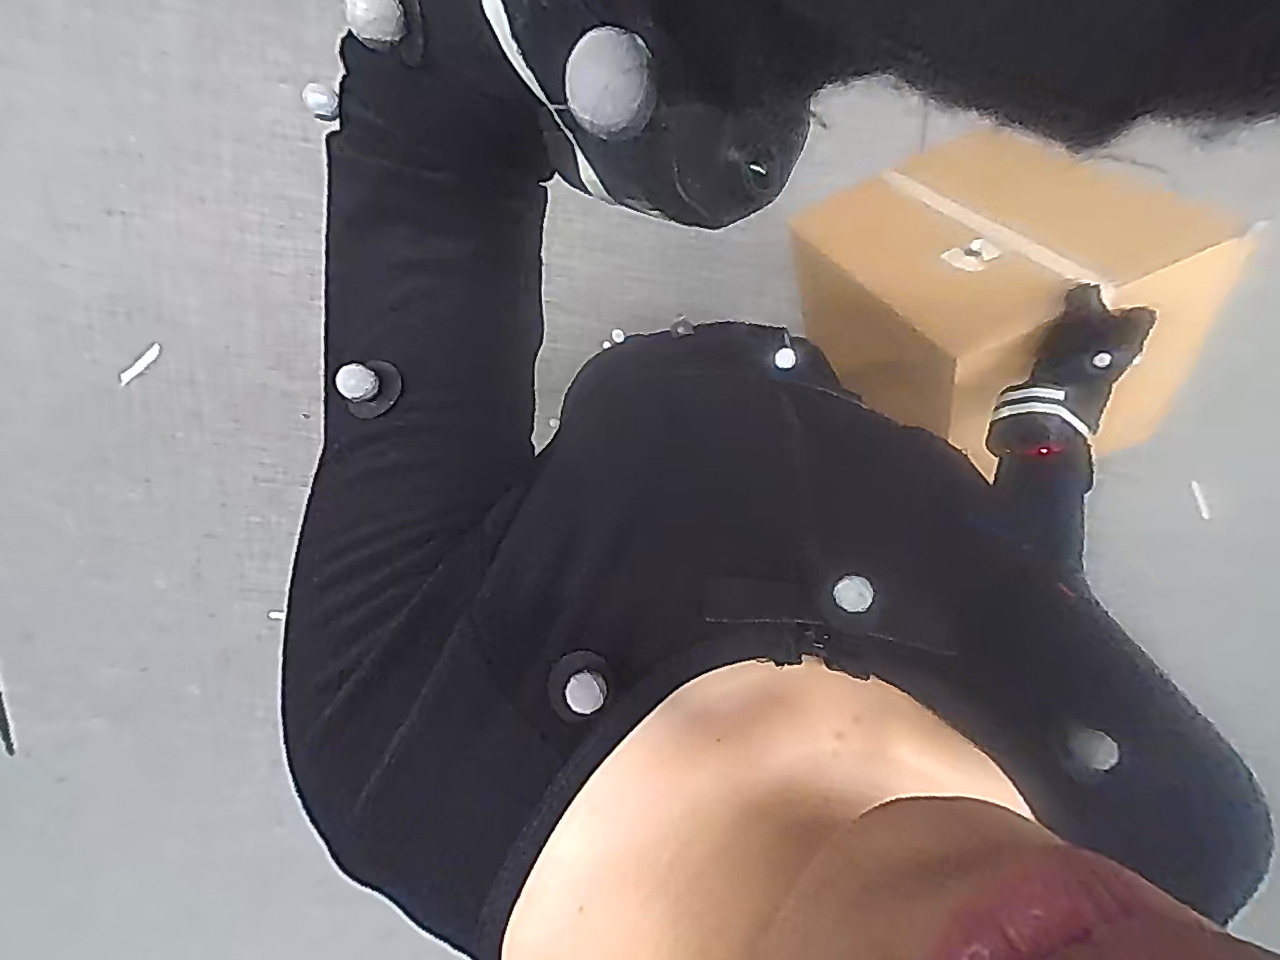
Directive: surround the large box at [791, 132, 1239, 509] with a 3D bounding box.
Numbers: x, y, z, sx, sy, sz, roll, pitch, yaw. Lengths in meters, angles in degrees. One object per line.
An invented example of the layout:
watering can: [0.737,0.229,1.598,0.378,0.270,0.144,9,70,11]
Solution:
large box: [0.465,-0.237,0.798,0.320,0.408,0.320,-24,138,5]
